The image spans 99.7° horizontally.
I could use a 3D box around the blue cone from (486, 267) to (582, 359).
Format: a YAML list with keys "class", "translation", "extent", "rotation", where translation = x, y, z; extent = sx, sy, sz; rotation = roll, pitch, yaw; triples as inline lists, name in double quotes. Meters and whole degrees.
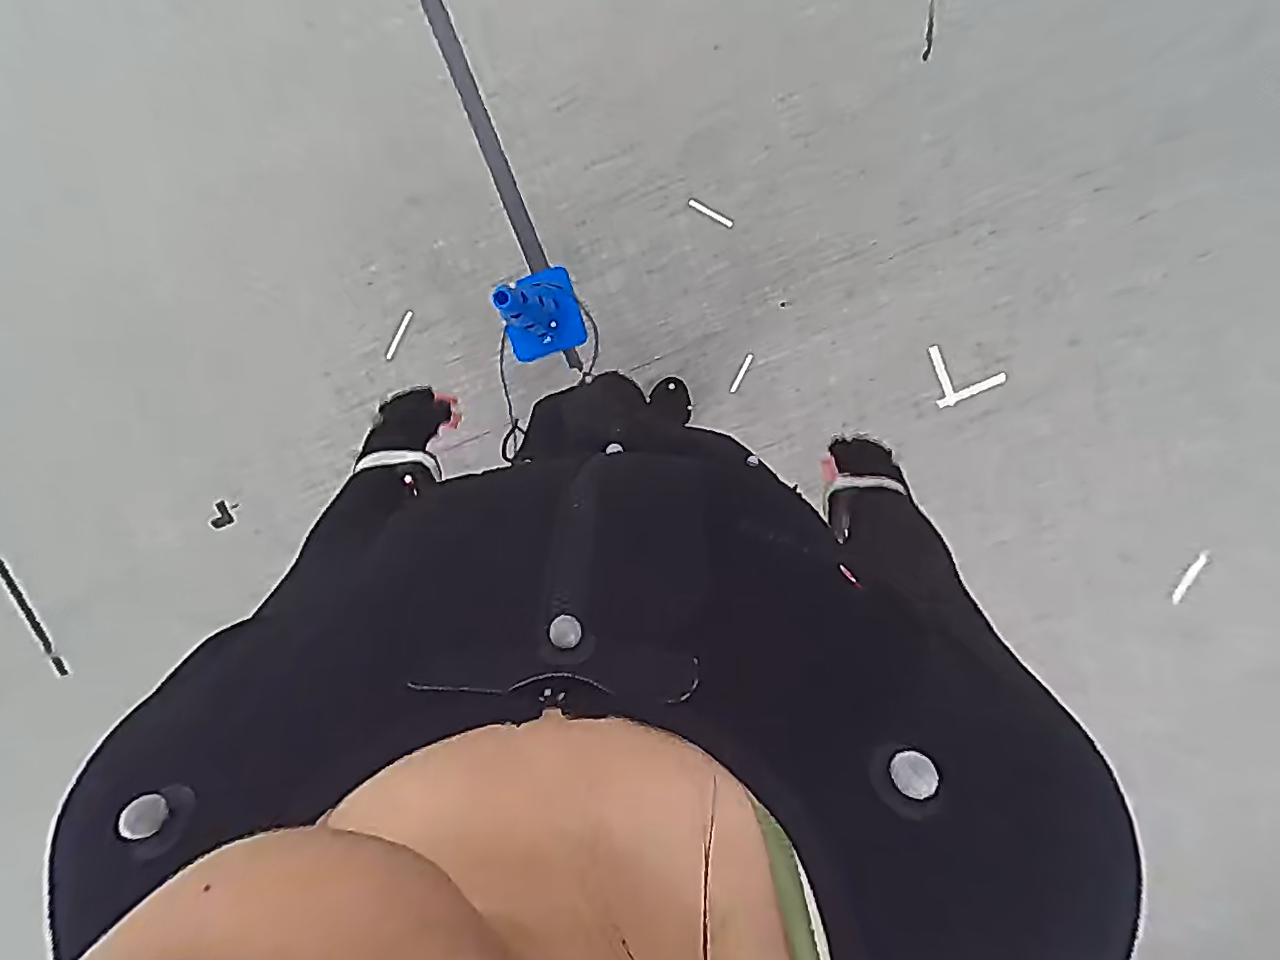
- class: "blue cone"
  translation: [-0.264, -0.383, 1.210]
  extent: [0.193, 0.380, 0.192]
  rotation: [-18, 101, 7]
